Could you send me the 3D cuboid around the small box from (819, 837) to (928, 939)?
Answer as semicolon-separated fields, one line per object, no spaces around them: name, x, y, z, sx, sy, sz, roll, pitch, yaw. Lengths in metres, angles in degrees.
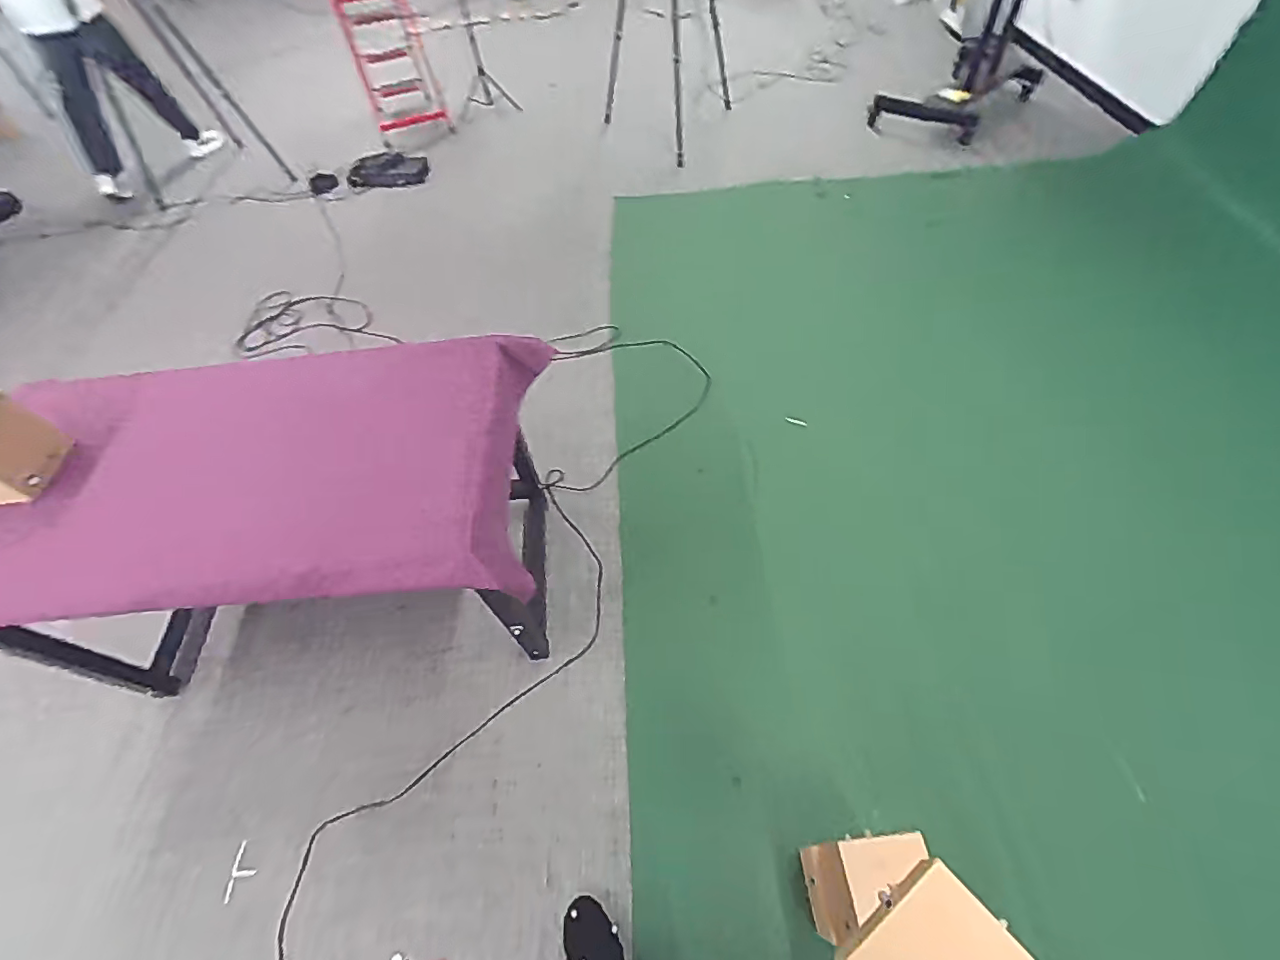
small box;0.466;0.806;1.049;0.168;0.176;0.179;-5;54;-1

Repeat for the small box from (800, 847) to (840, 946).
small box;0.459;0.900;1.183;0.179;0.176;0.168;-5;54;-1

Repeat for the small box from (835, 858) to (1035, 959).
small box;0.340;0.570;0.617;0.179;0.176;0.168;-40;52;-9

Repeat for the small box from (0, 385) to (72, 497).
small box;-1.360;-0.074;1.115;0.179;0.176;0.168;-5;55;2
